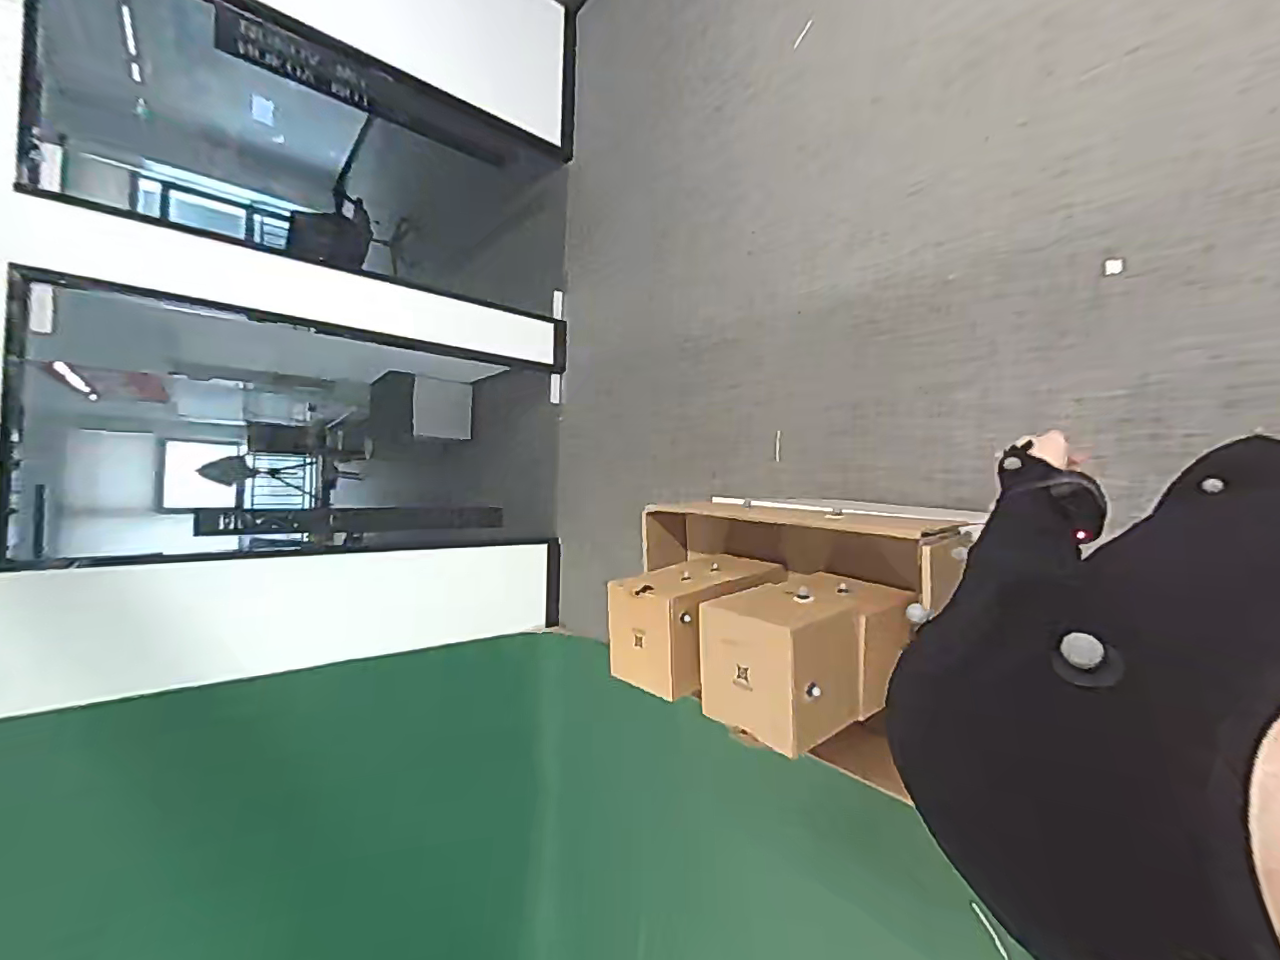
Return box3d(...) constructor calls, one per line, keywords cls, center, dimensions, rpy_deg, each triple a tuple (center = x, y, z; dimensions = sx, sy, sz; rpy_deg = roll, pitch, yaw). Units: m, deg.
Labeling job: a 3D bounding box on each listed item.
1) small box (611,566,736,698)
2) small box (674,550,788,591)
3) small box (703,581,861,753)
box3d(cls="small box", center=(0.065, 0.264, 0.987), dimensions=(0.168, 0.176, 0.179), rpy_deg=(1, 93, 49))
box3d(cls="small box", center=(0.186, 0.251, 1.095), dimensions=(0.168, 0.176, 0.179), rpy_deg=(3, 97, 48))
box3d(cls="small box", center=(0.213, 0.262, 0.805), dimensions=(0.168, 0.176, 0.179), rpy_deg=(2, 95, 50))
